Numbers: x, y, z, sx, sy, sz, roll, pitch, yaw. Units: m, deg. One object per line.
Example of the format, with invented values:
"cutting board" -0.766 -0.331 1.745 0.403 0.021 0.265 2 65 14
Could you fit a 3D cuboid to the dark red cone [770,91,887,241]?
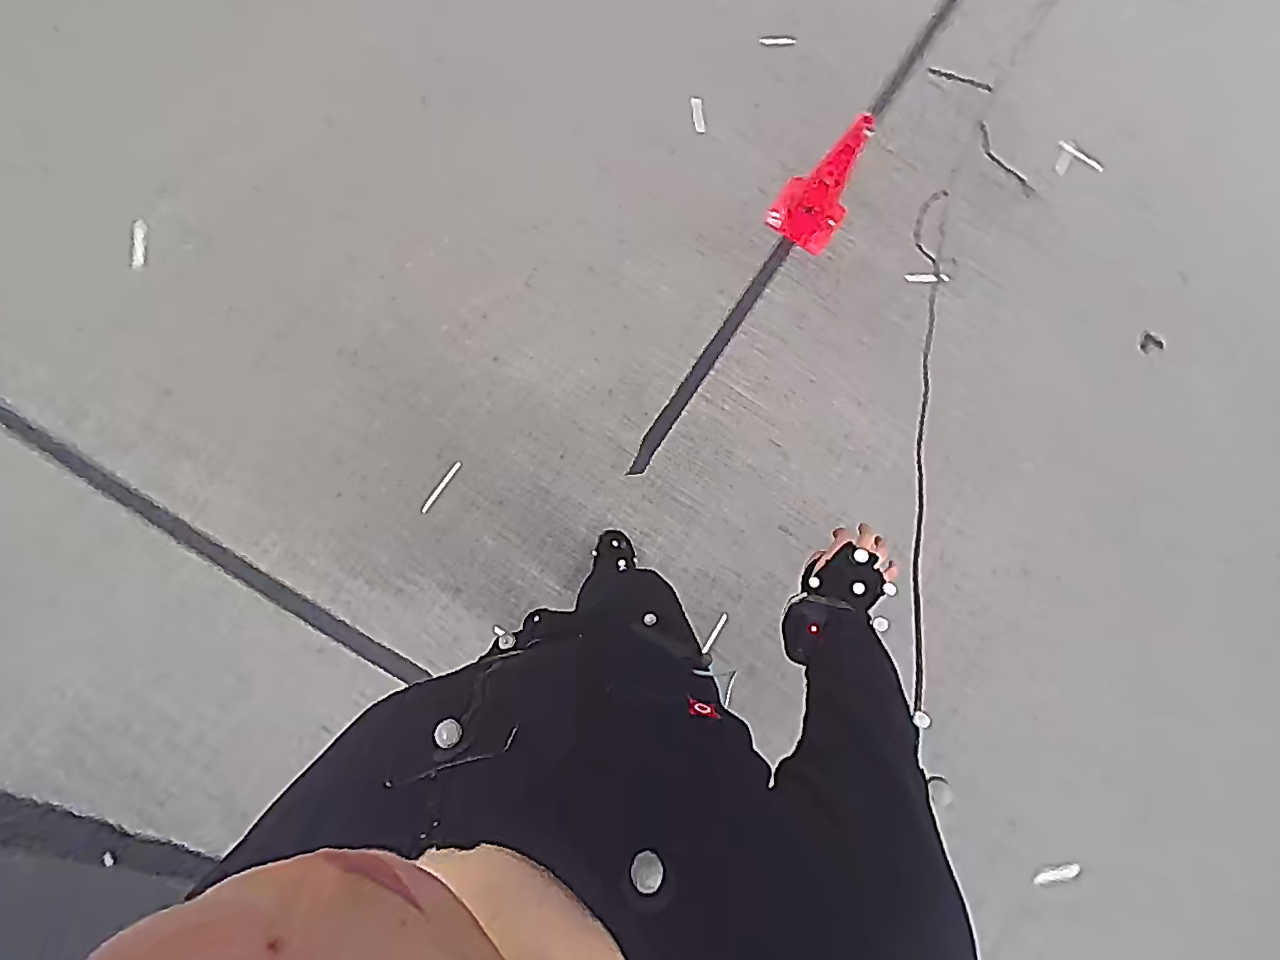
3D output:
"dark red cone" 0.525 -0.849 1.437 0.201 0.394 0.202 33 78 -2
